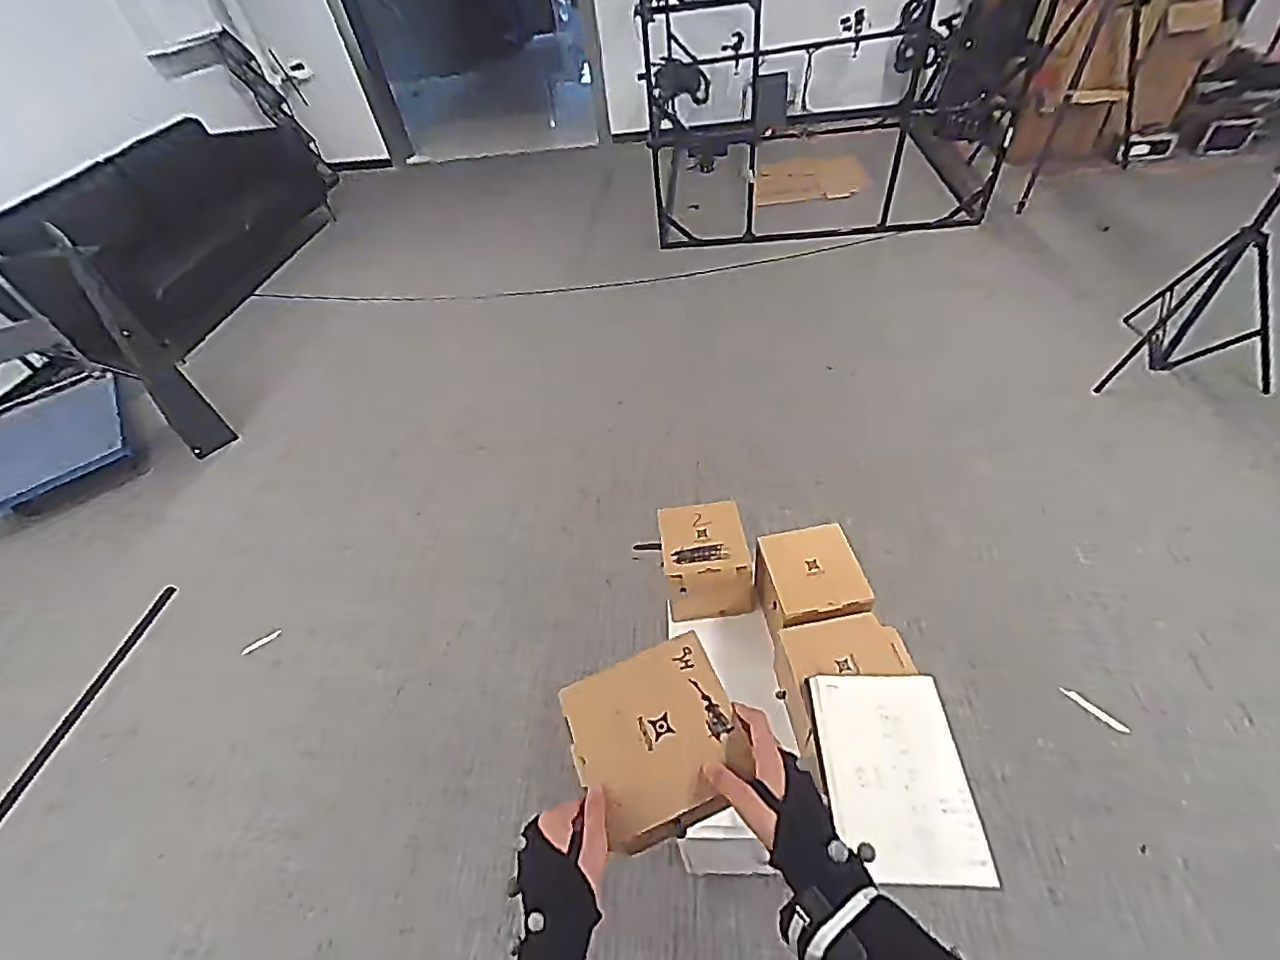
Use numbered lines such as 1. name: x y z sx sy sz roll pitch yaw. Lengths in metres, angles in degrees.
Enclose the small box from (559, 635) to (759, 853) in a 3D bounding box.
1. small box: 0.026 0.317 0.642 0.179 0.176 0.168 -22 54 -7
